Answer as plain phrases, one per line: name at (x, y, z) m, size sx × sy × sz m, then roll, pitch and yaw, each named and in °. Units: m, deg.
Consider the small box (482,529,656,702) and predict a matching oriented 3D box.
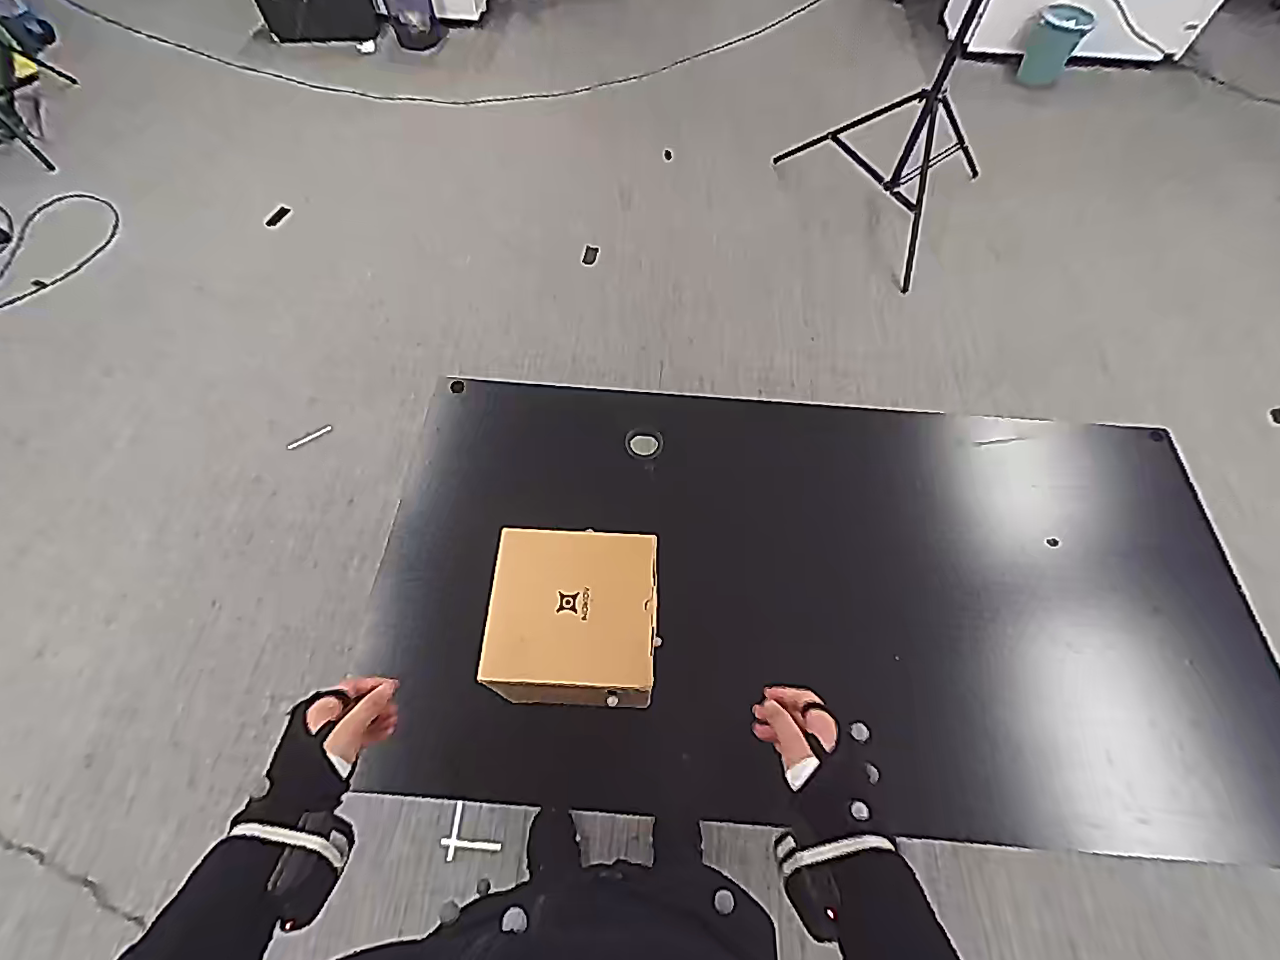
small box at (-0.073, 0.169, 0.652) m, size 0.179 × 0.176 × 0.168 m, roll 2°, pitch 61°, yaw -1°
